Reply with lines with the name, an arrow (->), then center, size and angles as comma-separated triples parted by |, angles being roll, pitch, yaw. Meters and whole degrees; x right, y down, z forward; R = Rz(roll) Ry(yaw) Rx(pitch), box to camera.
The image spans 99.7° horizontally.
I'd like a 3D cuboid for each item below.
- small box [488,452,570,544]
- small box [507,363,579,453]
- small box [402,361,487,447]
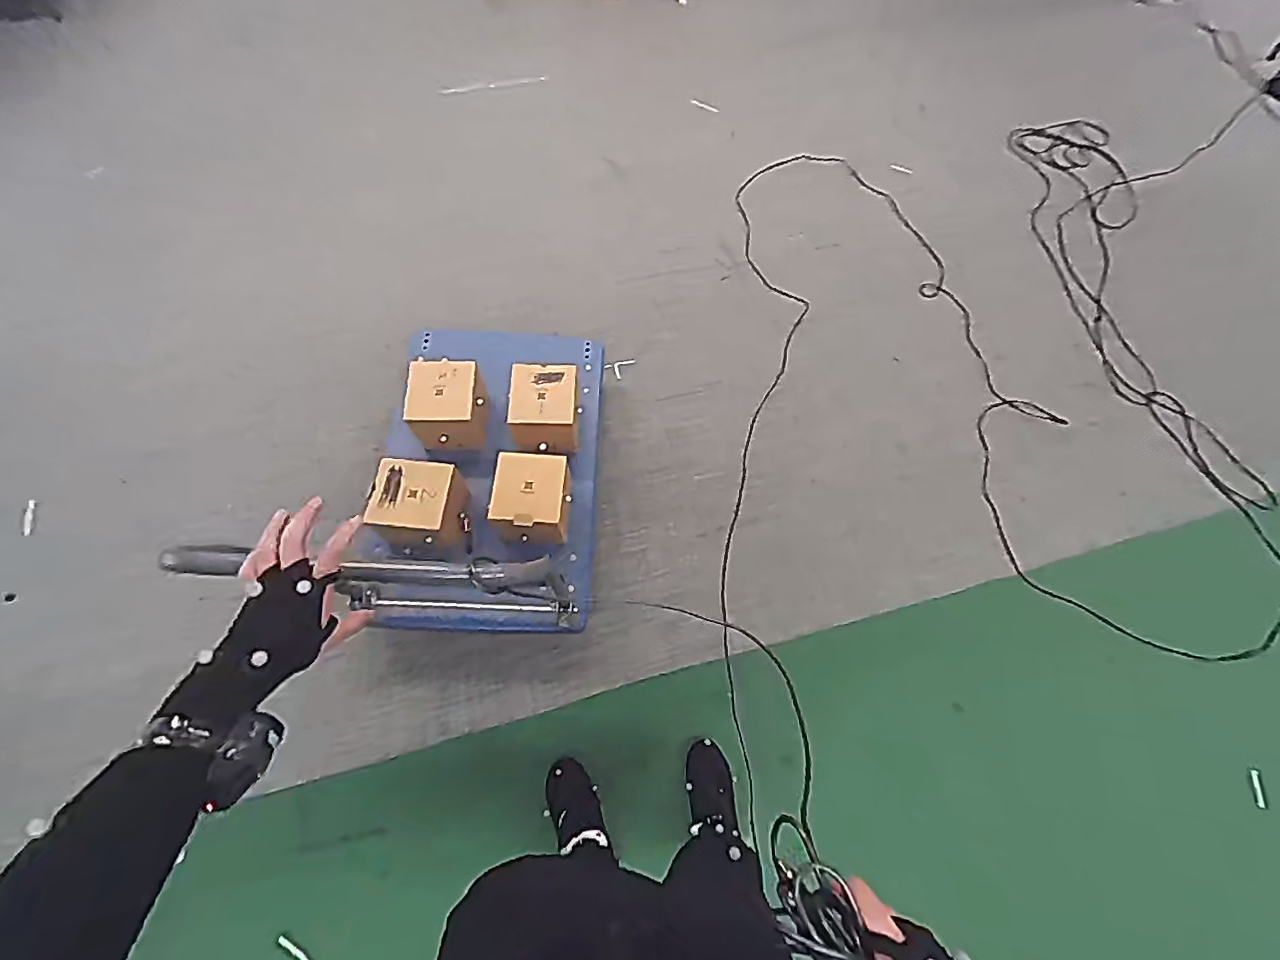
small box -> -0.268, 0.049, 1.345 | 0.168, 0.176, 0.179 | 4, 68, -2
small box -> -0.251, -0.189, 1.441 | 0.168, 0.176, 0.179 | 1, 69, -2
small box -> -0.507, -0.196, 1.429 | 0.168, 0.176, 0.179 | 0, 68, -4
